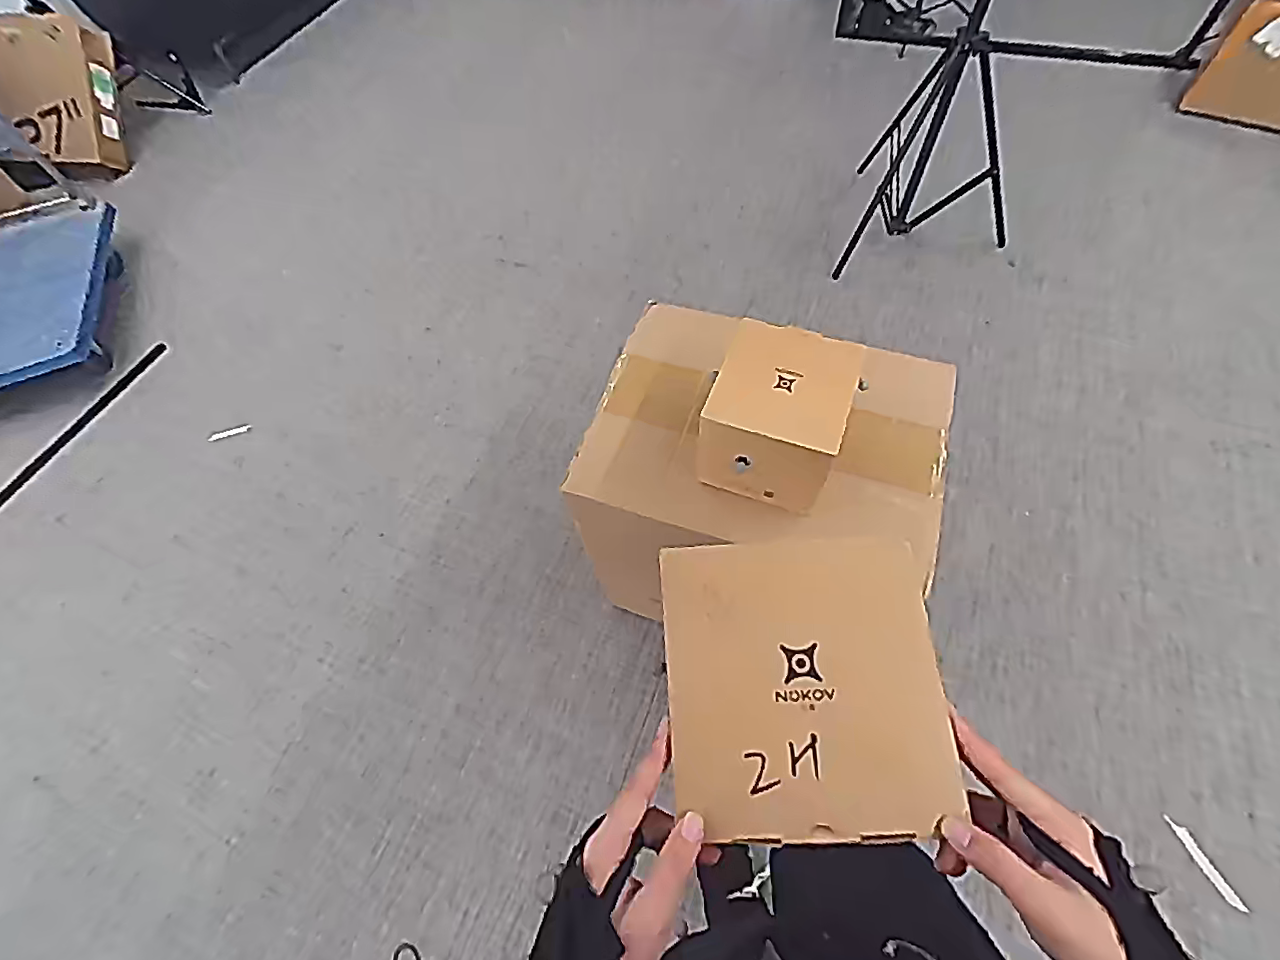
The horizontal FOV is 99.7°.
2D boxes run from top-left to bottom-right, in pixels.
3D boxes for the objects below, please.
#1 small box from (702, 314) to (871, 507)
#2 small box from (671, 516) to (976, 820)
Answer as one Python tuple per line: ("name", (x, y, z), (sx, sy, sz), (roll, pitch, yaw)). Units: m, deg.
("small box", (0.189, -0.088, 0.730), (0.168, 0.176, 0.179), (18, 63, 15))
("small box", (0.109, 0.137, 0.405), (0.168, 0.176, 0.179), (-4, 69, 5))
